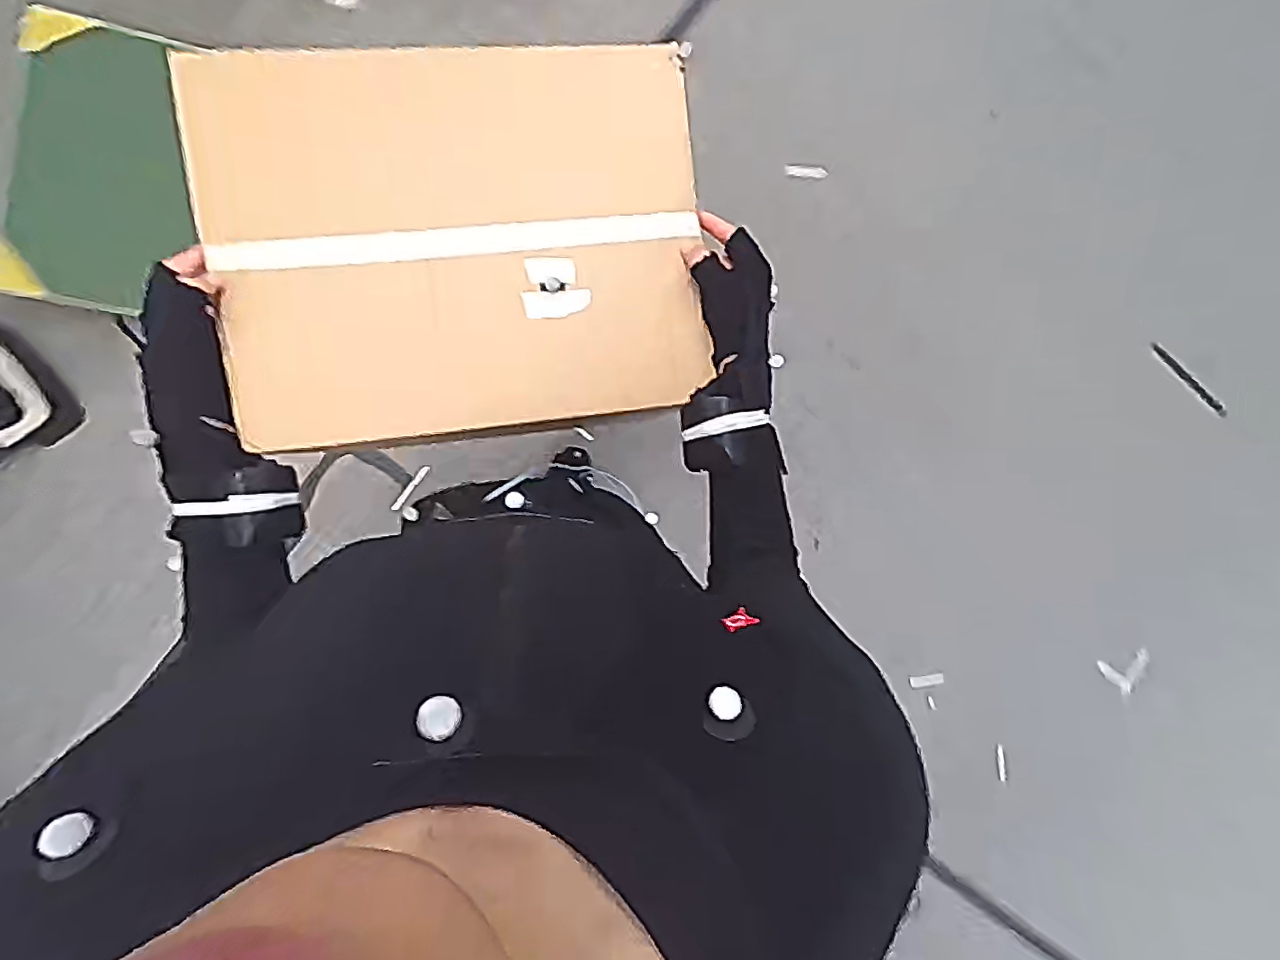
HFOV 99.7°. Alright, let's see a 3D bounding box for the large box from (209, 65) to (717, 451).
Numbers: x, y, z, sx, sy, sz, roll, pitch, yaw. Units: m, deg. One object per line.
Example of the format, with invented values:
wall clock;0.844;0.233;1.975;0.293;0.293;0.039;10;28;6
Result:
large box;-0.161;-0.210;0.618;0.408;0.320;0.320;-6;96;-10
